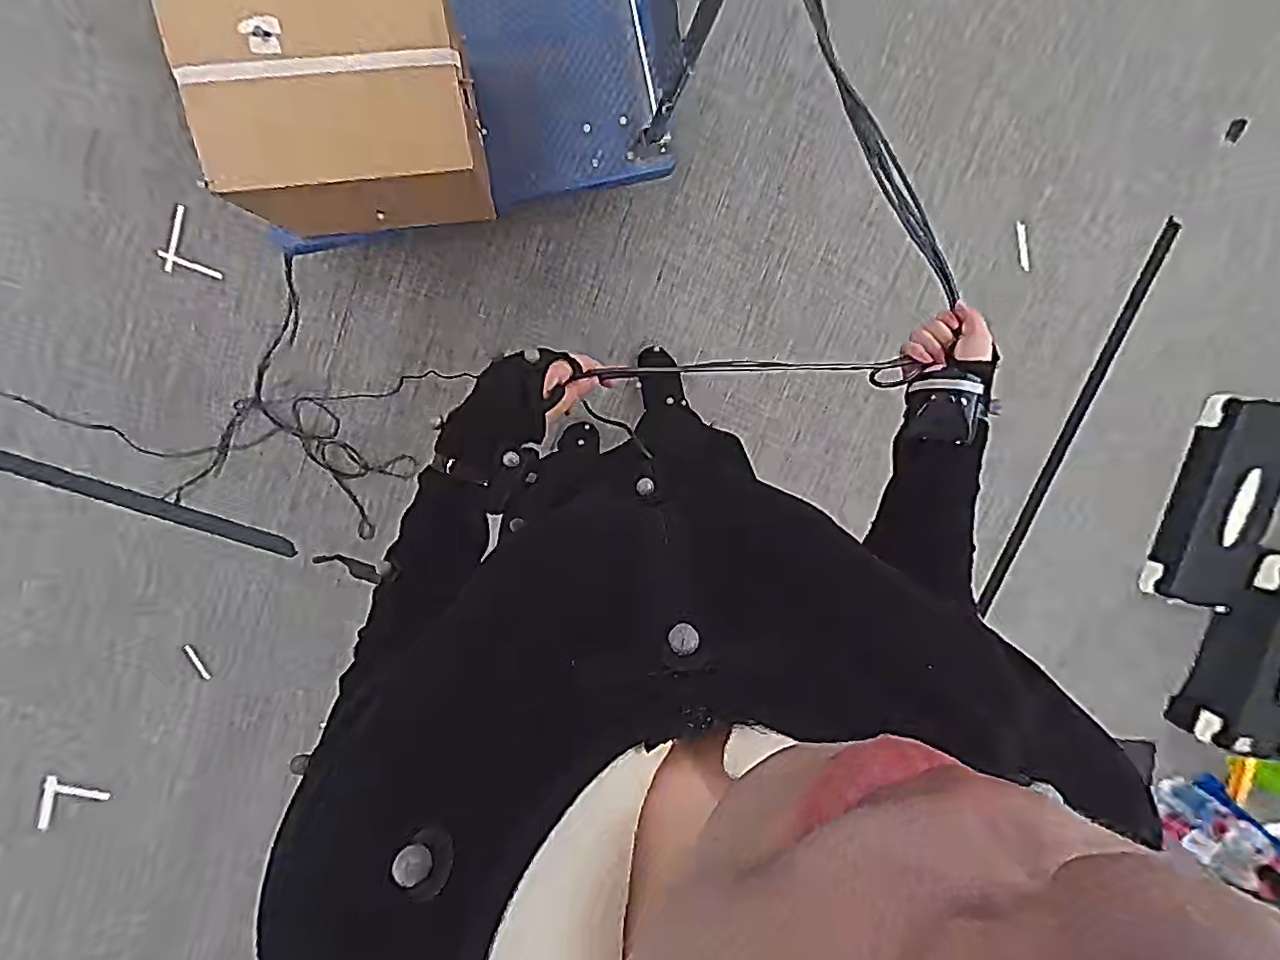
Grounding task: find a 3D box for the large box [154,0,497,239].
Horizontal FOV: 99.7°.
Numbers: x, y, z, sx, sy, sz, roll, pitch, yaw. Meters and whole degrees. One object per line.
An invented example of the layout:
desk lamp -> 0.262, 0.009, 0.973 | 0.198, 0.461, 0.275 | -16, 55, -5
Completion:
large box -> -0.499, -0.642, 0.958 | 0.408, 0.320, 0.320 | -10, 102, -6
